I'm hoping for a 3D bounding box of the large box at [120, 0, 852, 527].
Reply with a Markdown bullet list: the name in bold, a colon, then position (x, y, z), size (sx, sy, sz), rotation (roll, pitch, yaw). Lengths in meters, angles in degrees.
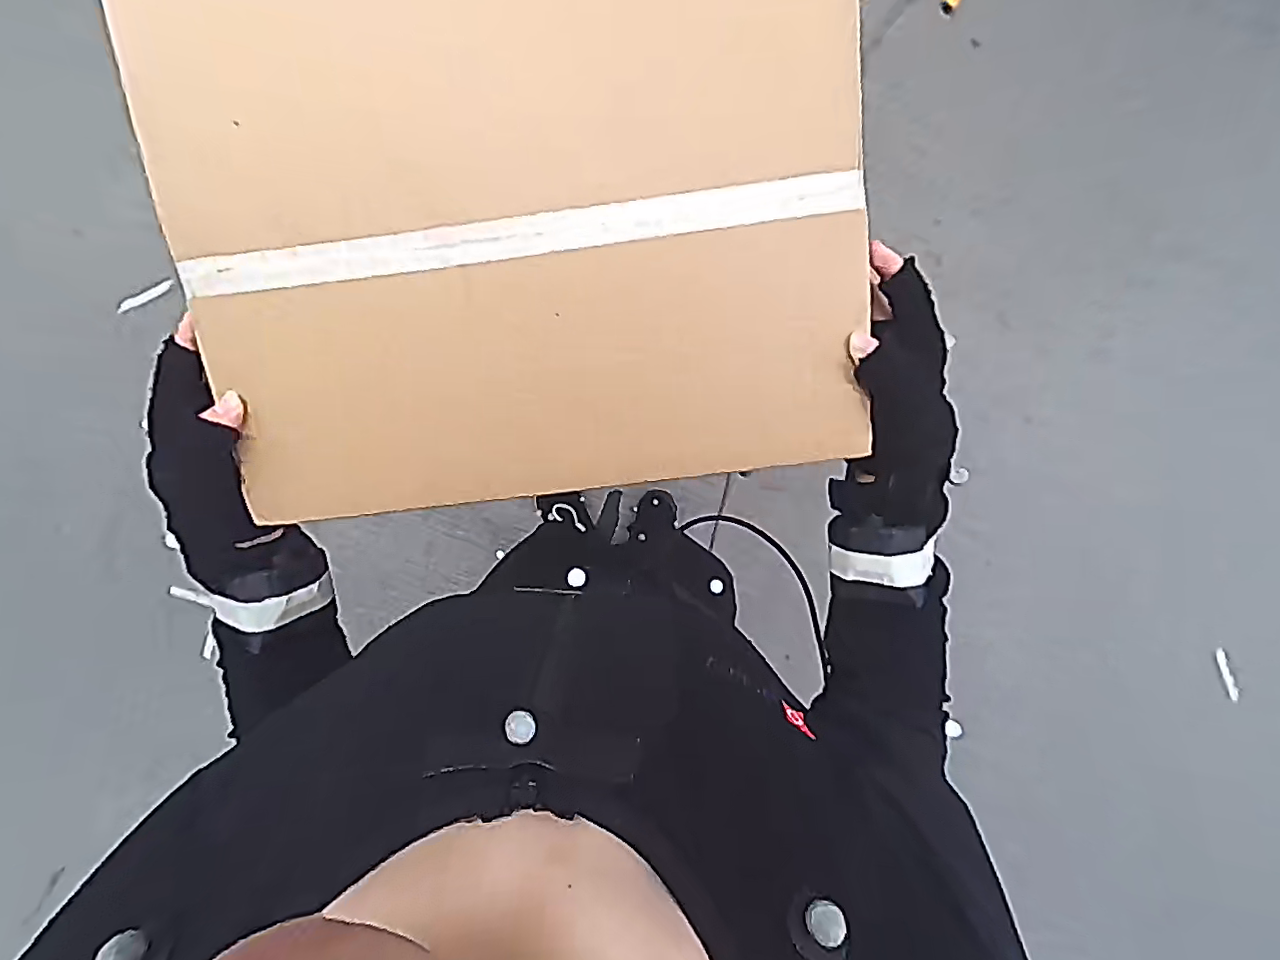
- **large box**: position (-0.075, -0.177, 0.475), size (0.408, 0.320, 0.320), rotation (-8, 102, 2)
